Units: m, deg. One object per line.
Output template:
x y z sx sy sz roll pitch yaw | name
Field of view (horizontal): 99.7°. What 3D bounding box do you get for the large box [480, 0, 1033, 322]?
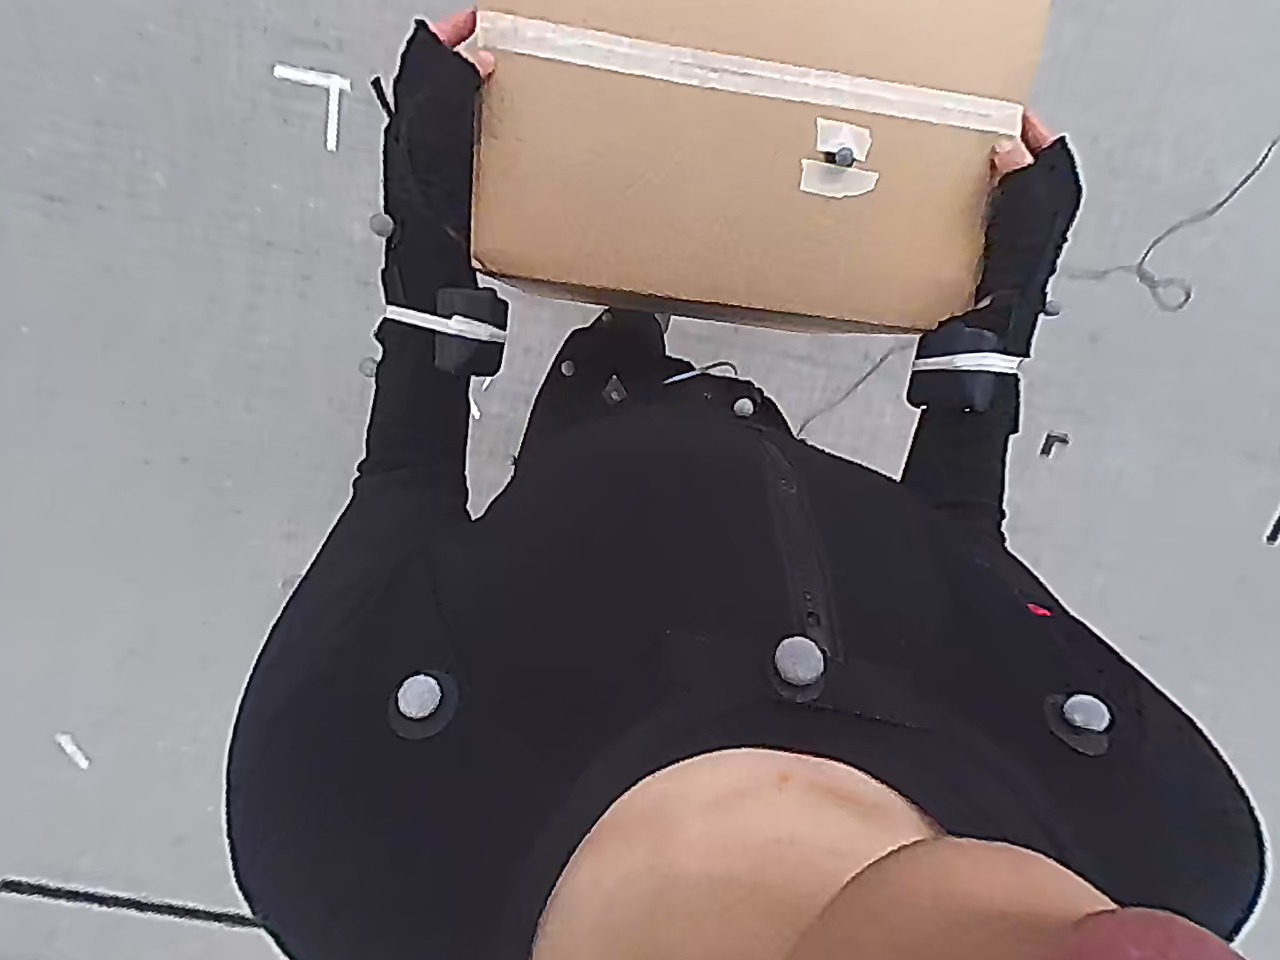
0.072 -0.339 0.543 0.408 0.320 0.320 5 106 -7 | large box
